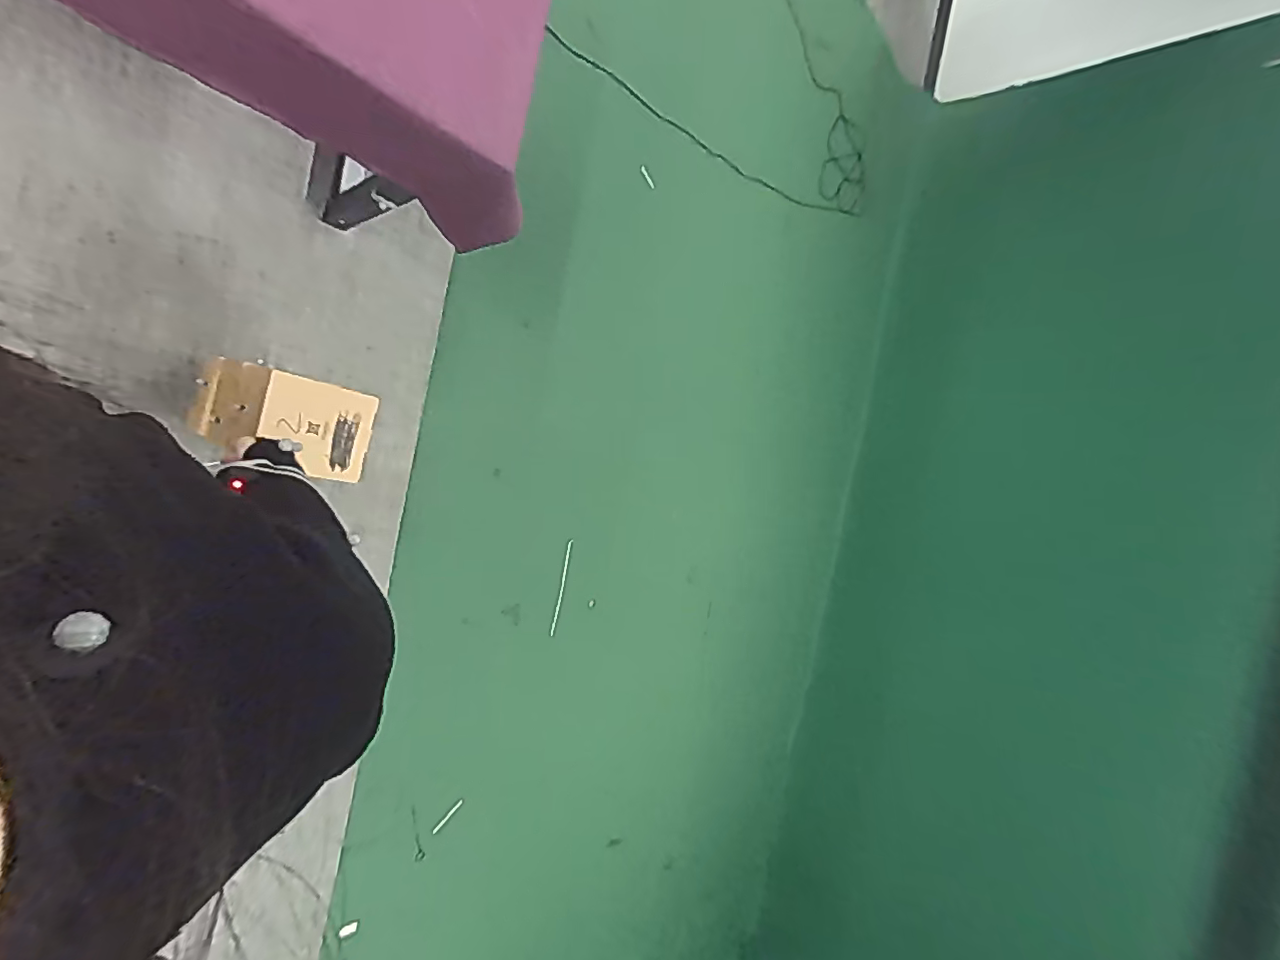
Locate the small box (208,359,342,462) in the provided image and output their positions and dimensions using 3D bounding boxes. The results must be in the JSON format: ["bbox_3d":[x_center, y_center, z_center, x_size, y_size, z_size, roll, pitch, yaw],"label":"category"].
[{"bbox_3d":[-0.742,-0.140,1.095,0.179,0.176,0.168,12,91,-49],"label":"small box"}]

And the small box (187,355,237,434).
[{"bbox_3d":[-0.866,-0.168,1.197,0.179,0.176,0.168,16,87,-49],"label":"small box"}]
